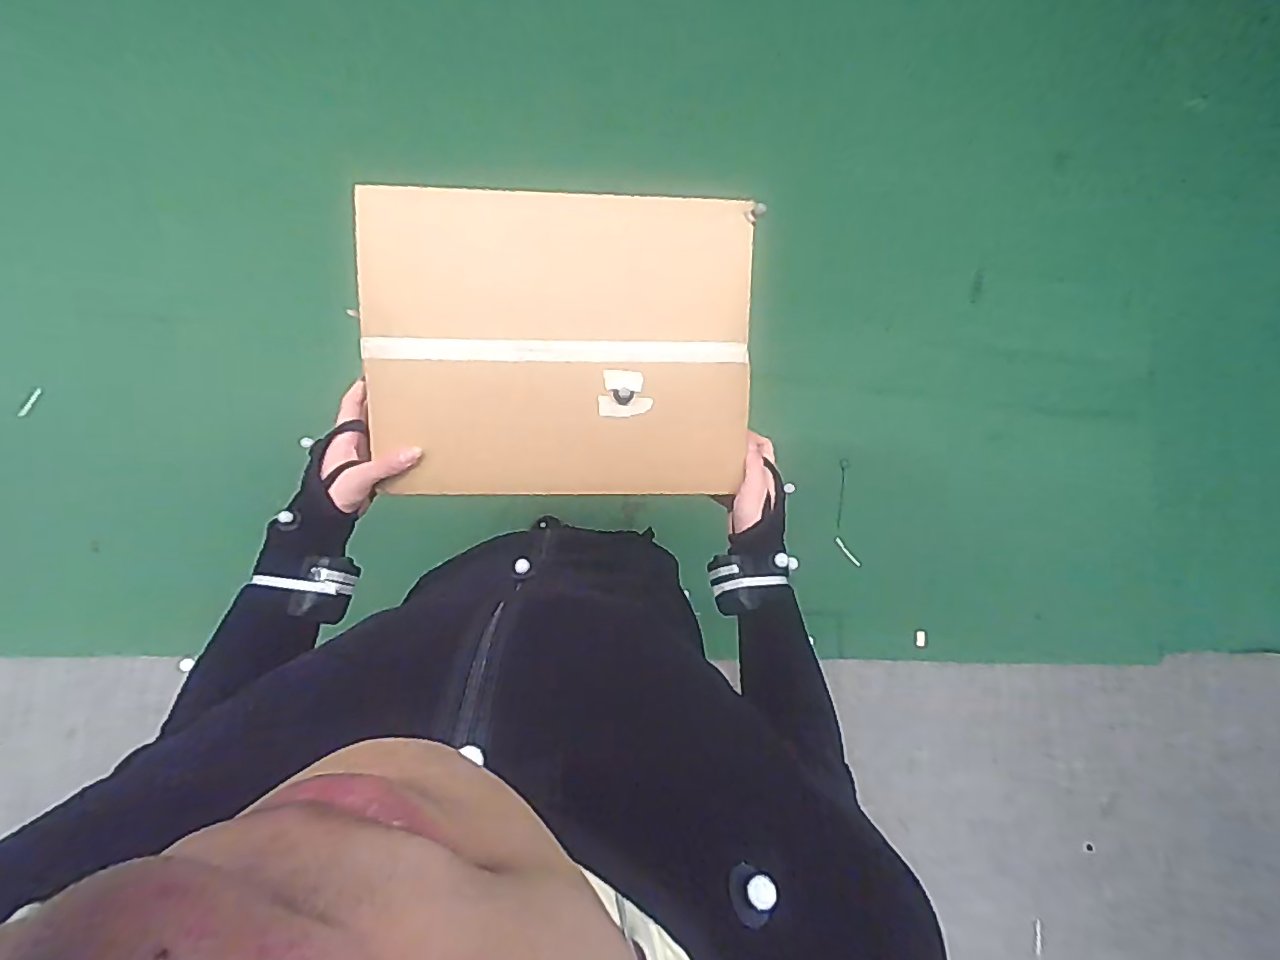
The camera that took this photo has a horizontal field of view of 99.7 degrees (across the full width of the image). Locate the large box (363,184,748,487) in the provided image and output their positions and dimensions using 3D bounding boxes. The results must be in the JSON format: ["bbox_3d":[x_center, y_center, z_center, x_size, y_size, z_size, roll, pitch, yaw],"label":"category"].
[{"bbox_3d":[-0.097,-0.170,0.727,0.408,0.320,0.320,0,99,-5],"label":"large box"}]
